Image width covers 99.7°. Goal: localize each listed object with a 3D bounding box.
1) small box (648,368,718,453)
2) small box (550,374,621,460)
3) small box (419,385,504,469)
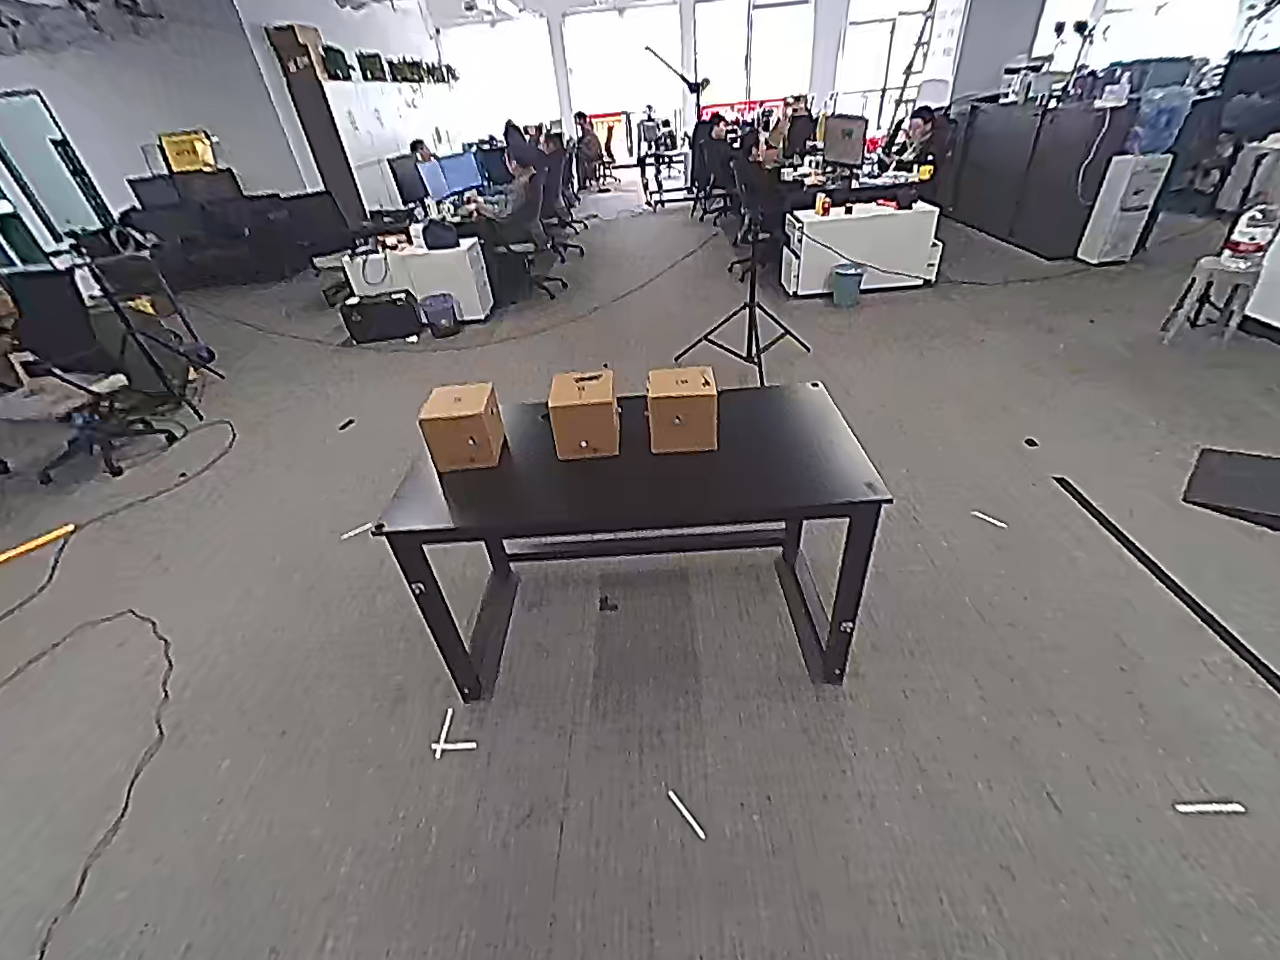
[{"bbox_3d":[0.116,-0.184,1.452,0.179,0.176,0.168,-4,36,4],"label":"small box"},{"bbox_3d":[-0.143,-0.172,1.469,0.168,0.176,0.179,-5,36,1],"label":"small box"},{"bbox_3d":[-0.474,-0.141,1.469,0.168,0.176,0.179,-5,35,-2],"label":"small box"}]
